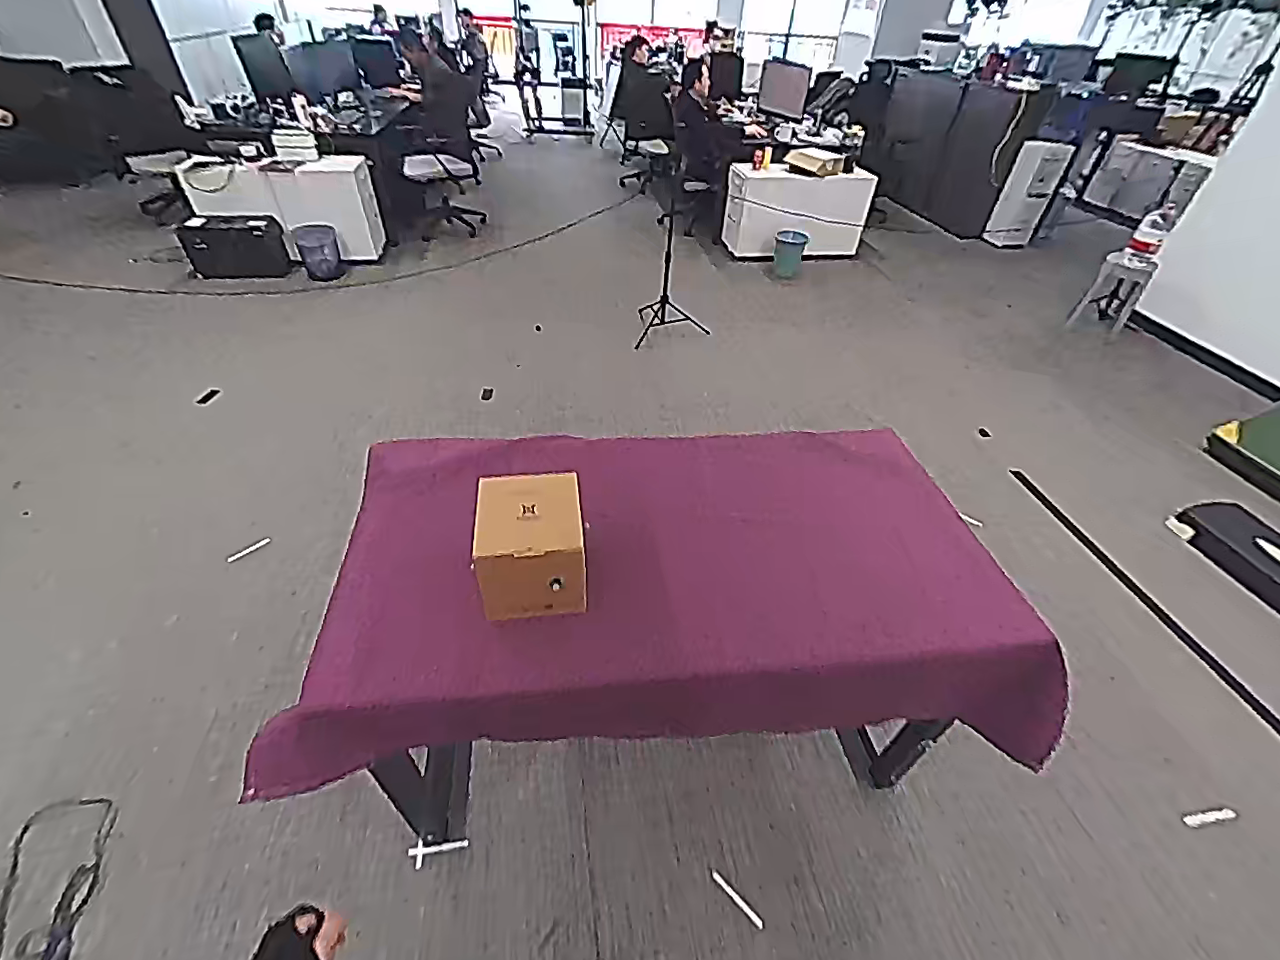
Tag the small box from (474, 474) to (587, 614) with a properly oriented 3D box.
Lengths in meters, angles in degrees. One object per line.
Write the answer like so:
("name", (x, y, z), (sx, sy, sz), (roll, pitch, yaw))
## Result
("small box", (-0.177, 0.112, 0.914), (0.168, 0.176, 0.179), (-3, 42, -9))
